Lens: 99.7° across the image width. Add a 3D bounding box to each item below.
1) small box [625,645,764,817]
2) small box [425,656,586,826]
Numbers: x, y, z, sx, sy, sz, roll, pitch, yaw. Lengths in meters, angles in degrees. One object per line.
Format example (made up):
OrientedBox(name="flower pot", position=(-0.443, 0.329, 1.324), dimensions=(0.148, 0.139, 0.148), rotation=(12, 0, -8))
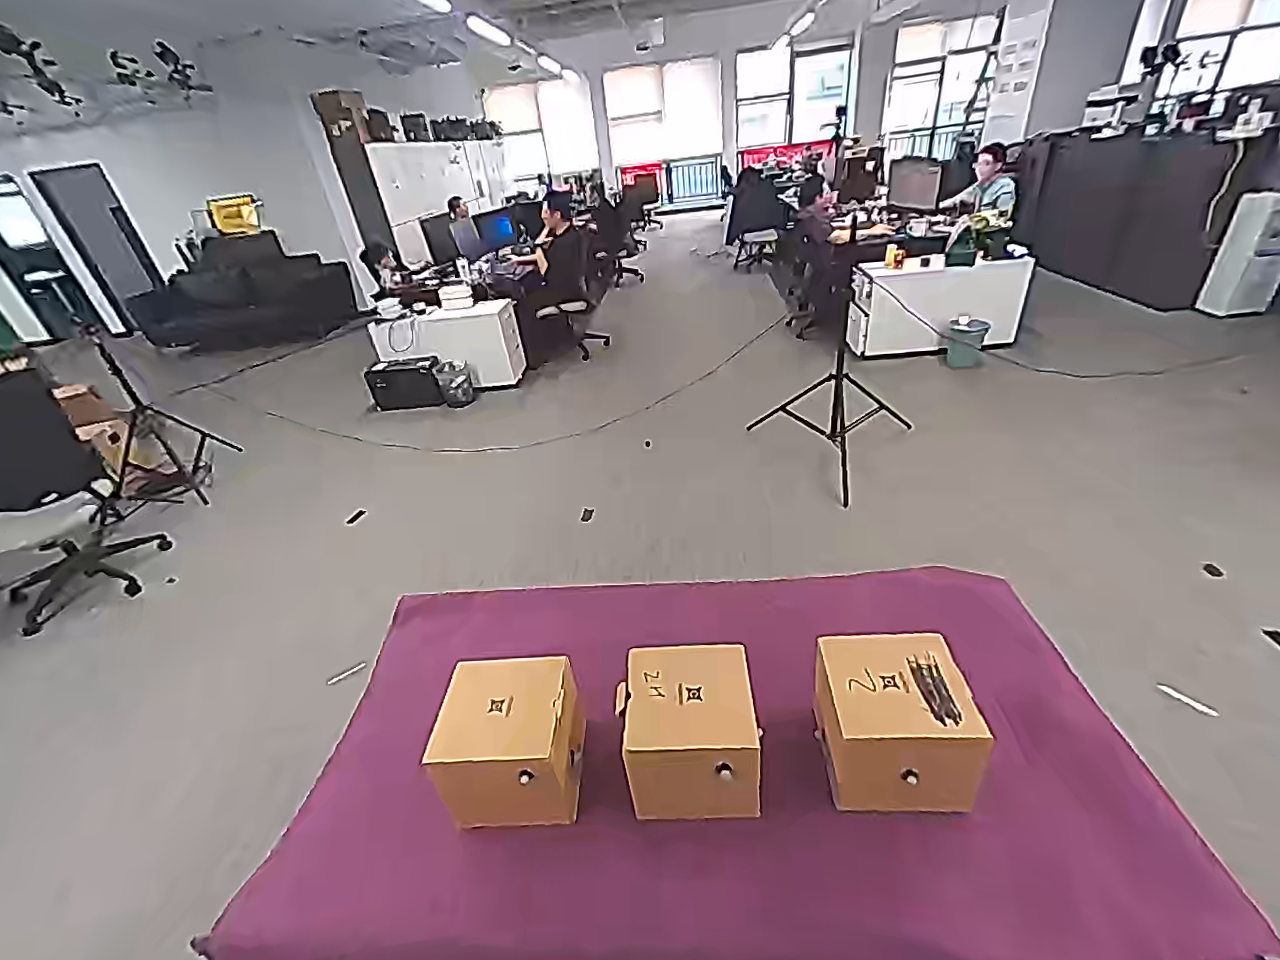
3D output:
OrientedBox(name="small box", position=(0.079, 0.363, 0.786), dimensions=(0.179, 0.176, 0.168), rotation=(-5, 31, 5))
OrientedBox(name="small box", position=(-0.186, 0.388, 0.806), dimensions=(0.179, 0.176, 0.168), rotation=(-5, 32, 3))
